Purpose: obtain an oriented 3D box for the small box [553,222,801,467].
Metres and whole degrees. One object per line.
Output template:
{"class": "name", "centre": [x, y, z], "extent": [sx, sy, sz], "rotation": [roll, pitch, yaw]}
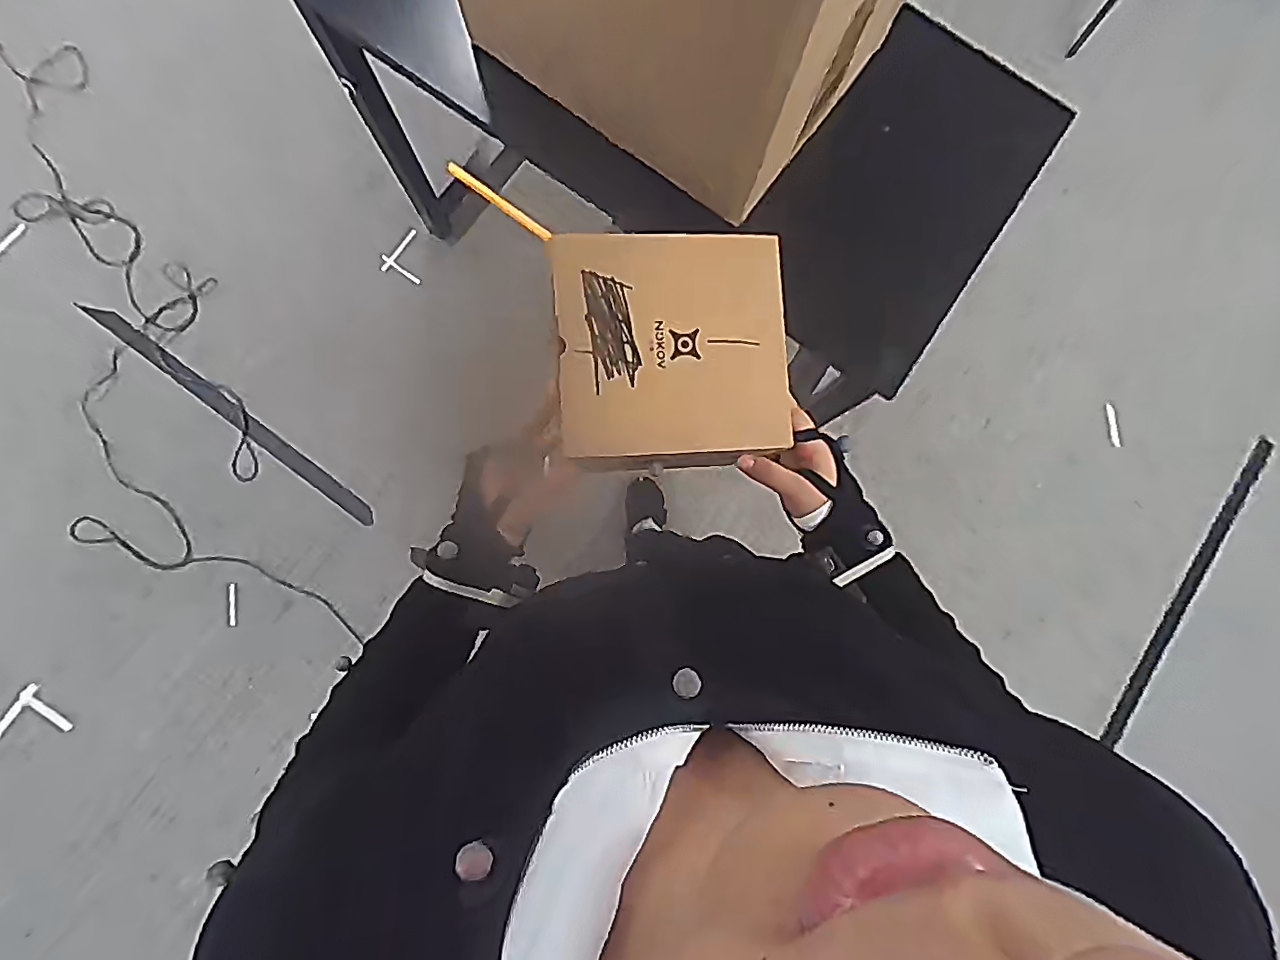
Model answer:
{"class": "small box", "centre": [0.019, -0.102, 0.471], "extent": [0.179, 0.176, 0.168], "rotation": [-3, 88, -8]}
